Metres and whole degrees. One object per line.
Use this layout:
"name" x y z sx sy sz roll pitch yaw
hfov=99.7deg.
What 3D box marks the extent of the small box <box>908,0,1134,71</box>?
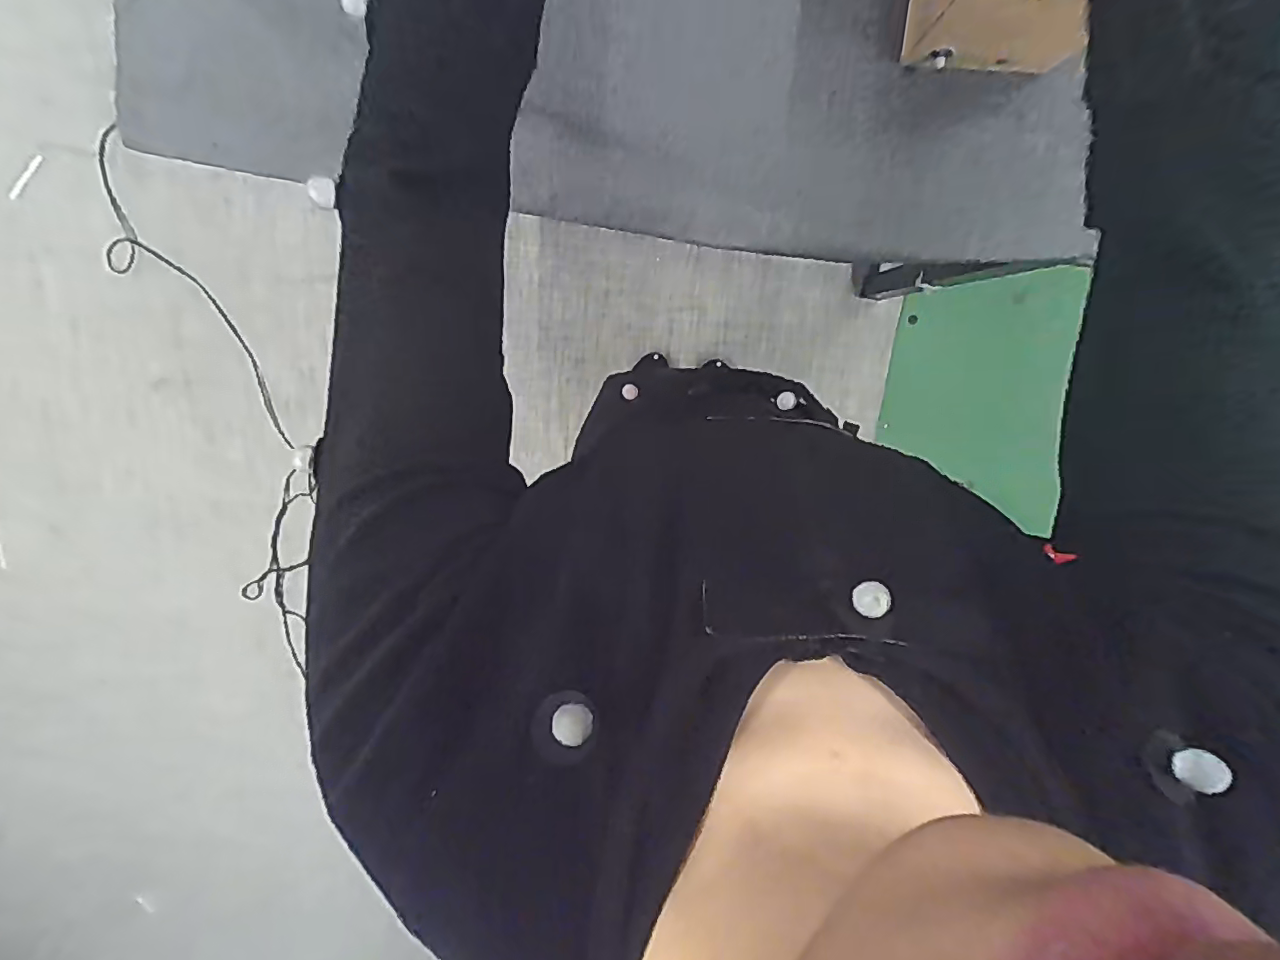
"small box" 0.375 -0.519 0.502 0.168 0.176 0.179 4 103 1
